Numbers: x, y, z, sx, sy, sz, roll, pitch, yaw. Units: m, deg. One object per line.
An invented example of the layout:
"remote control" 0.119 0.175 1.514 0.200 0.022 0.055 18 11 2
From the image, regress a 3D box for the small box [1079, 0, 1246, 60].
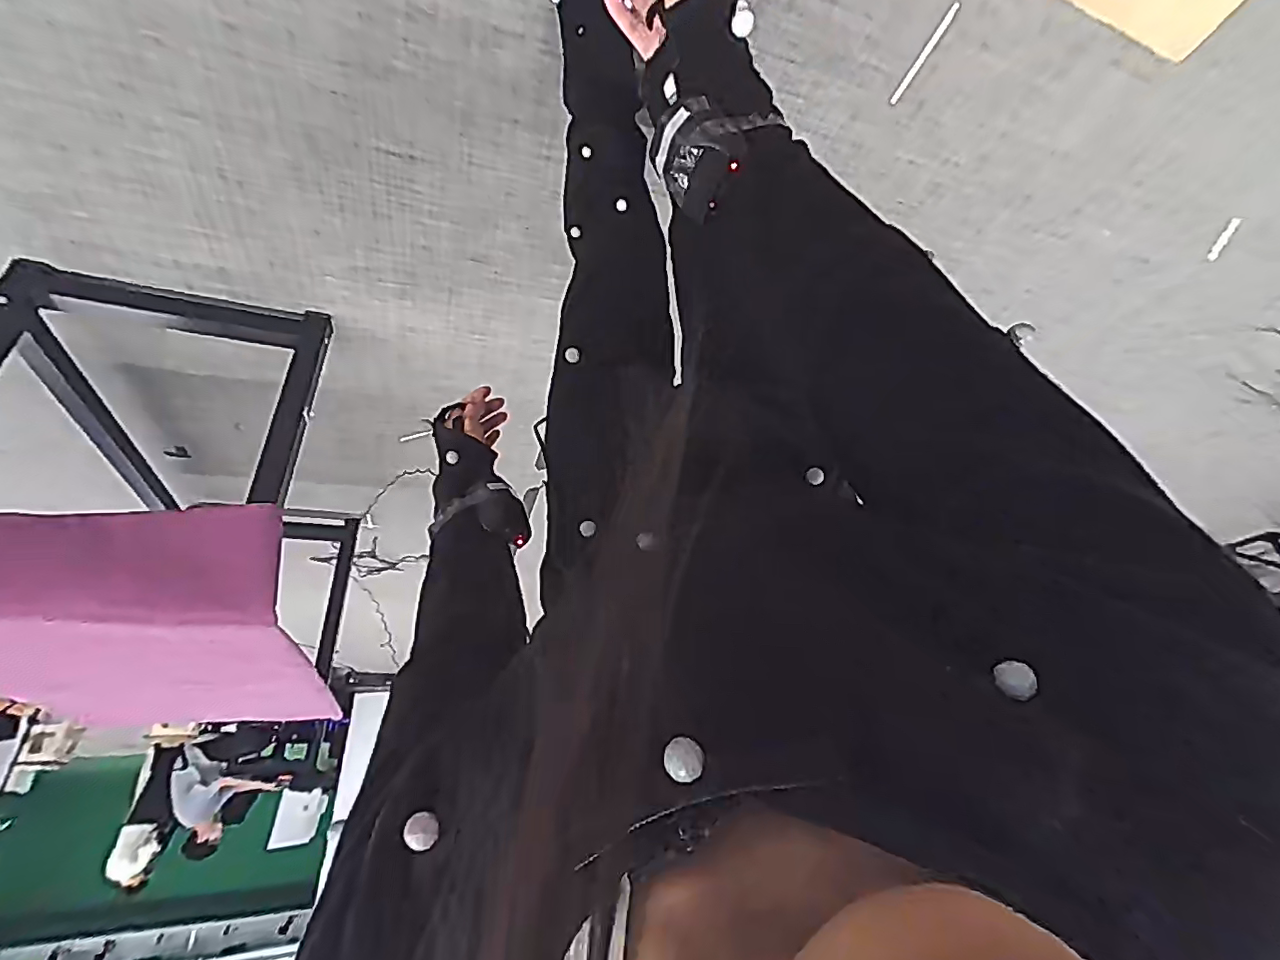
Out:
"small box" 0.441 -0.502 0.440 0.179 0.176 0.168 5 150 -21
